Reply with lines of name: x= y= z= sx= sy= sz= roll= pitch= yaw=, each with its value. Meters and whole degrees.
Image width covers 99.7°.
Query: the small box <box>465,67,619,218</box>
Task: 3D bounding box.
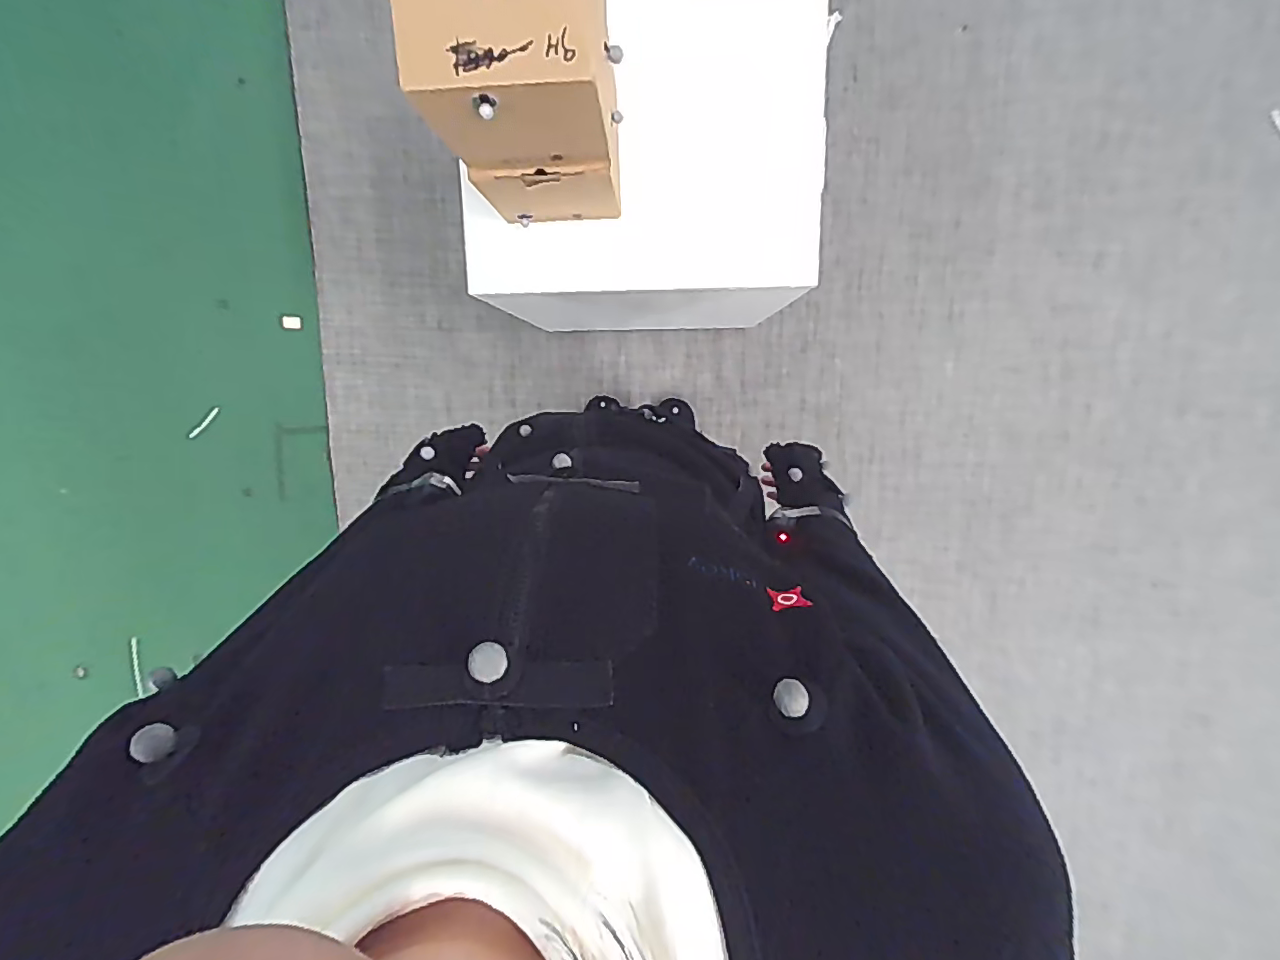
small box: x=-0.116 y=-0.443 z=0.681 sx=0.168 sy=0.176 sz=0.179 roll=-1 pitch=99 yaw=2

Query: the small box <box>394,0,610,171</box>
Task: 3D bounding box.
small box: x=-0.119 y=-0.426 z=0.519 sx=0.168 sy=0.176 sz=0.179 roll=-1 pitch=99 yaw=3
